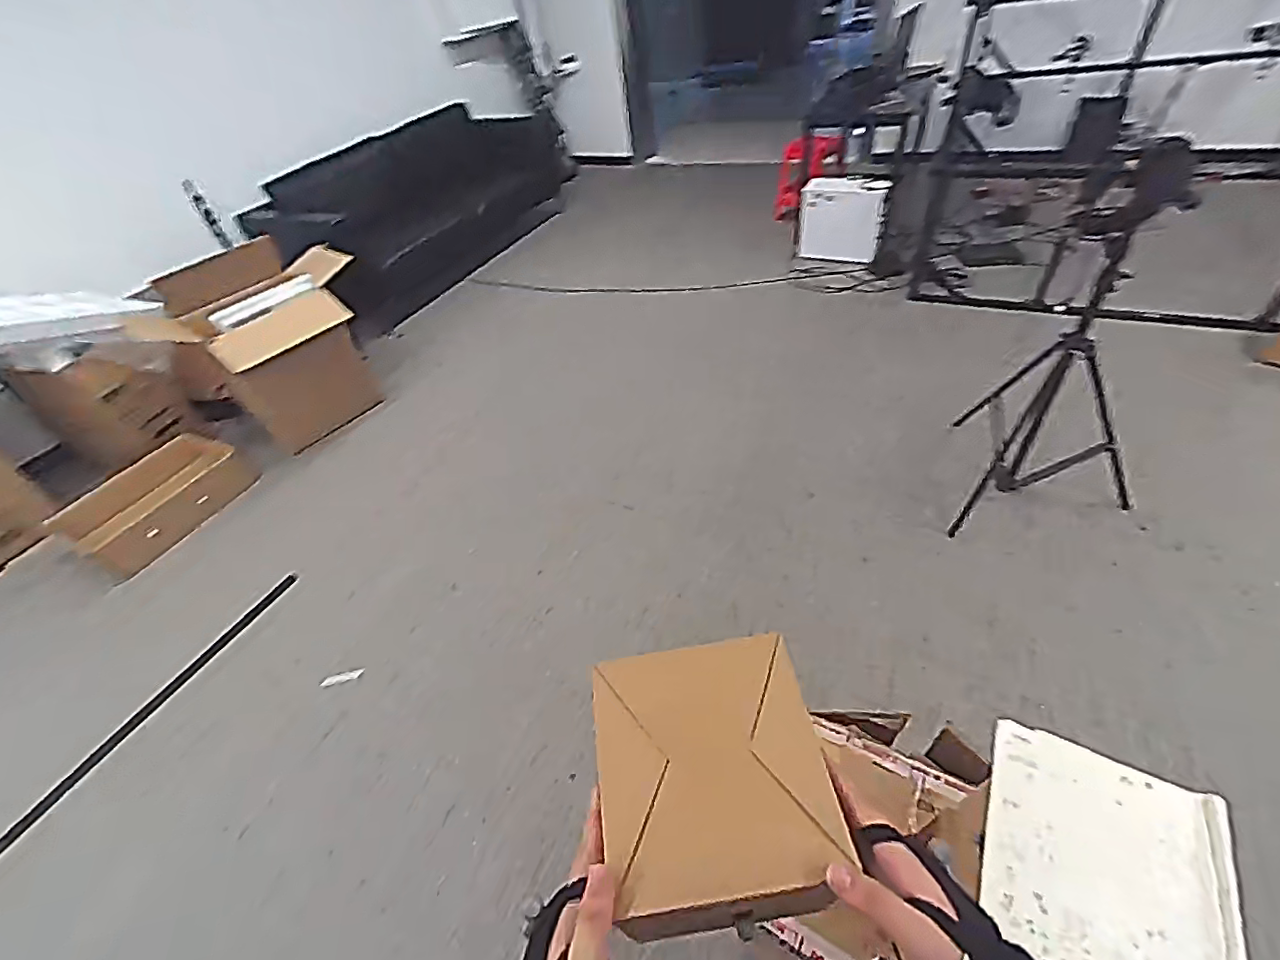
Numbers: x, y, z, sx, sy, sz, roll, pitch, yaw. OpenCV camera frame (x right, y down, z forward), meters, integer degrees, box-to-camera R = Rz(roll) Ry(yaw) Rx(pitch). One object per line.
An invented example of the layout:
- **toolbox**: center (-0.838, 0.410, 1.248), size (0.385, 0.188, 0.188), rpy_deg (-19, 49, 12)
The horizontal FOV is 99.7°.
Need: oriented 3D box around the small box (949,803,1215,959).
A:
- **small box**: center (0.445, 0.485, 0.565), size (0.168, 0.176, 0.179), rpy_deg (18, 52, 24)
